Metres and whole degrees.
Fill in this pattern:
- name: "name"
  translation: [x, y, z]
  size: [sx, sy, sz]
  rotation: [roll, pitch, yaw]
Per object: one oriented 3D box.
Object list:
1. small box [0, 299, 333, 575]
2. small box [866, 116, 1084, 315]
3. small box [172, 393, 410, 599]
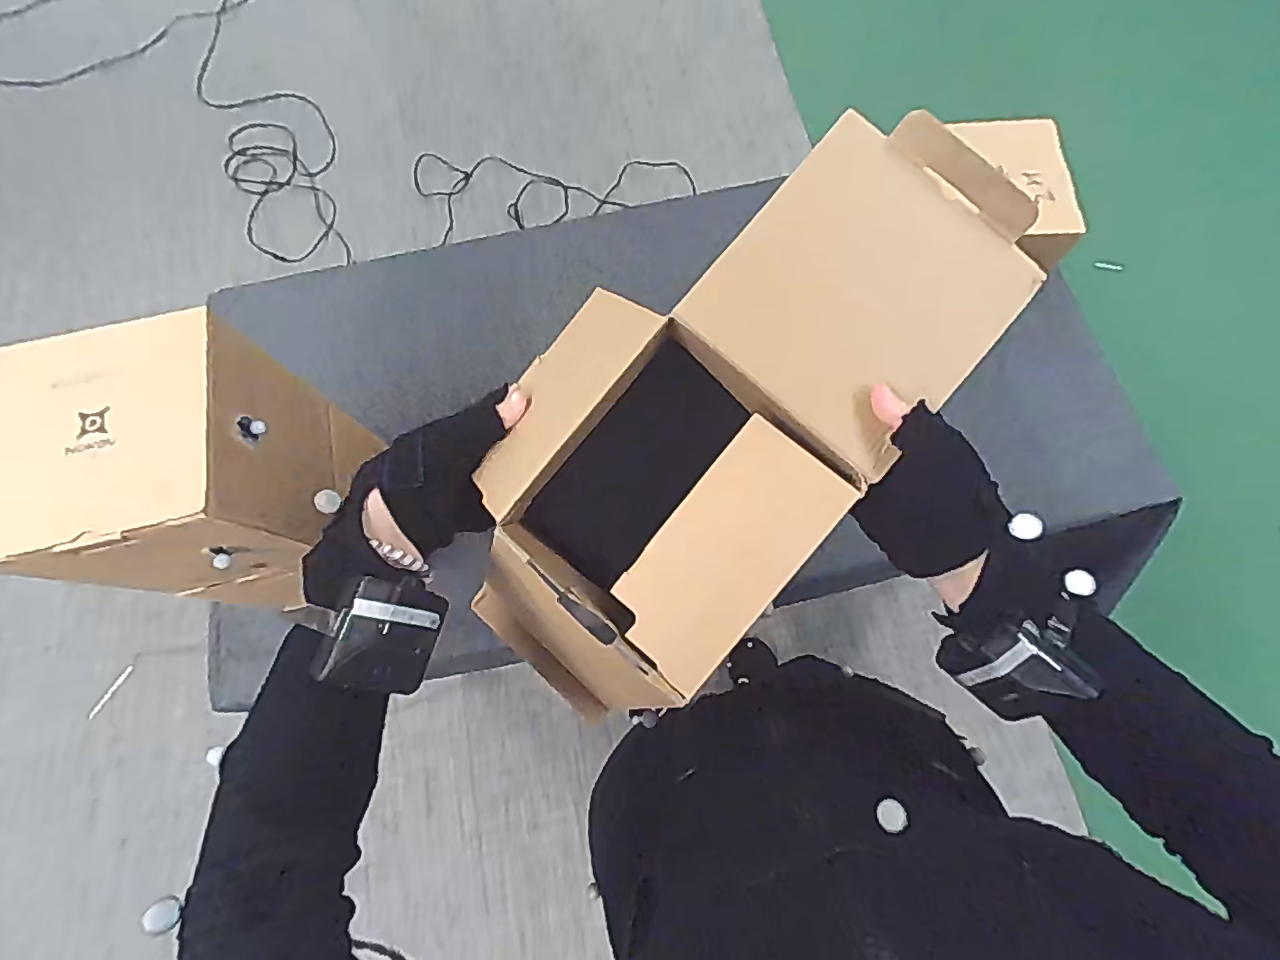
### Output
- name: "small box"
  translation: [-0.392, -0.020, 0.467]
  size: [0.168, 0.176, 0.179]
  rotation: [-12, 73, -3]
- name: "small box"
  translation: [0.407, -0.328, 0.696]
  size: [0.179, 0.176, 0.168]
  rotation: [0, 74, 2]
- name: "small box"
  translation: [-0.386, 0.028, 0.623]
  size: [0.168, 0.176, 0.179]
  rotation: [-14, 73, -2]
